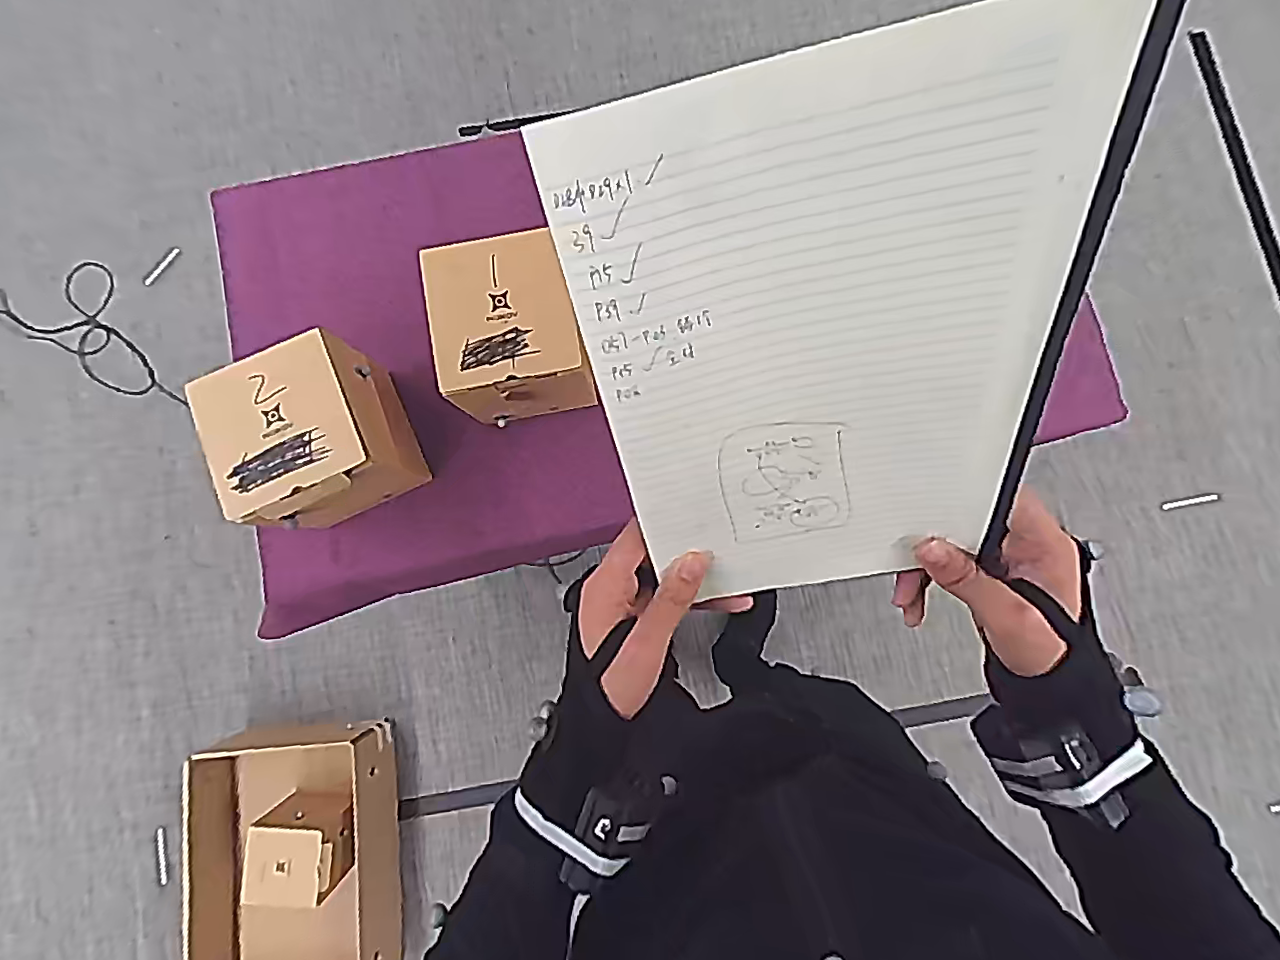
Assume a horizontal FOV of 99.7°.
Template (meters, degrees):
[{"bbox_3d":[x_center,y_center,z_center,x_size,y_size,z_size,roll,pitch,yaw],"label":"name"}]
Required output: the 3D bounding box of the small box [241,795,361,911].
[{"bbox_3d":[-0.784,0.866,1.270,0.179,0.176,0.168,3,84,1],"label":"small box"}]

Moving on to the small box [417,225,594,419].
[{"bbox_3d":[-0.157,-0.183,0.685,0.168,0.176,0.179,-11,83,0],"label":"small box"}]
